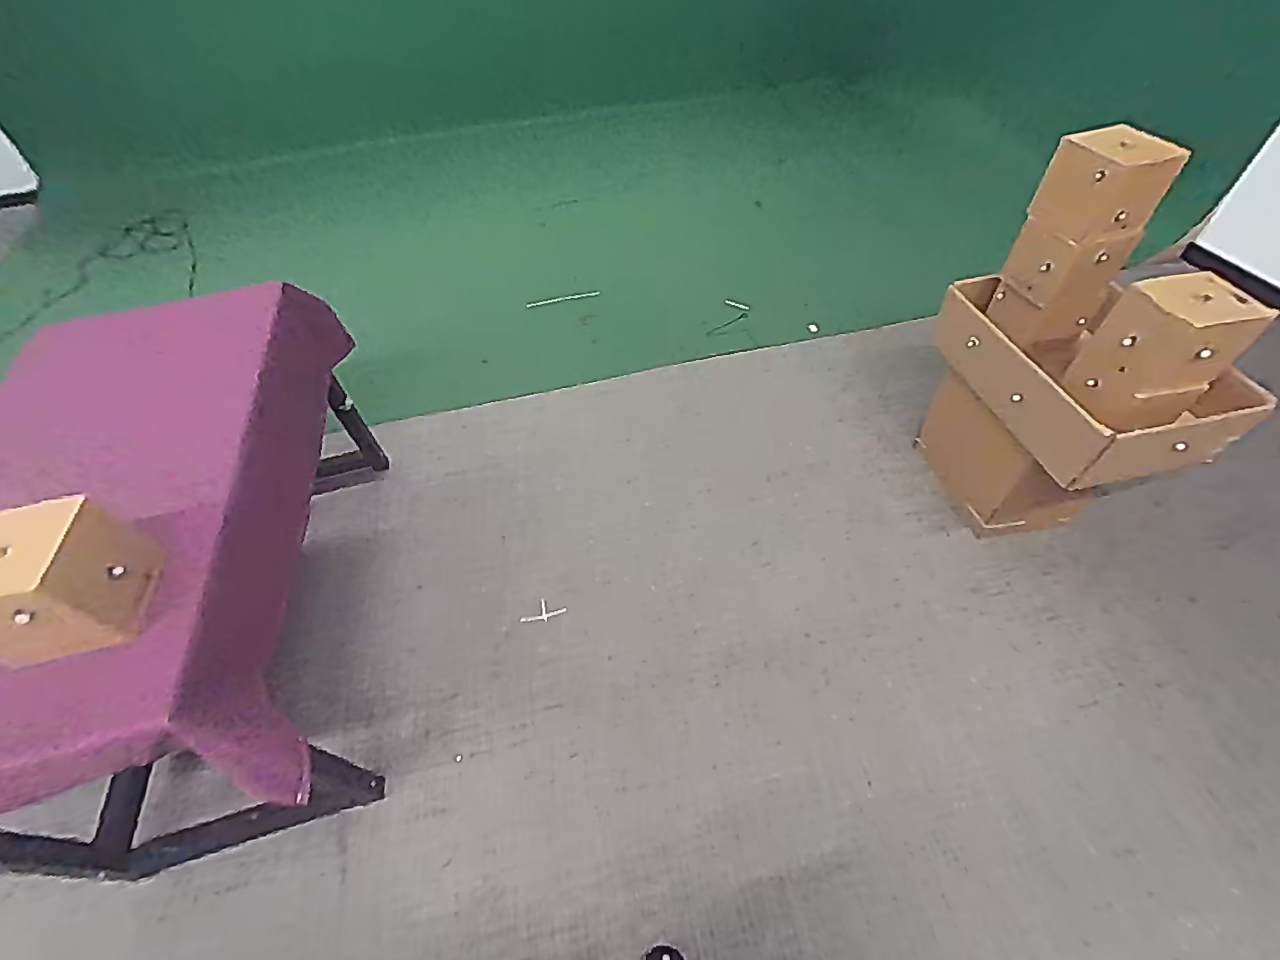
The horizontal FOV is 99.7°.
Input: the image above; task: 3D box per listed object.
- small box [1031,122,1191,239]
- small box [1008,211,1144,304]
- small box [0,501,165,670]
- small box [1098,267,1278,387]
[{"bbox_3d":[1.035,-0.669,1.211,0.168,0.176,0.179,-16,53,-7],"label":"small box"},{"bbox_3d":[1.050,-0.557,1.329,0.179,0.176,0.168,-14,52,-7],"label":"small box"},{"bbox_3d":[-0.875,0.159,0.805,0.179,0.176,0.168,-13,50,-5],"label":"small box"},{"bbox_3d":[1.112,-0.312,1.124,0.179,0.176,0.168,-10,51,-2],"label":"small box"}]
